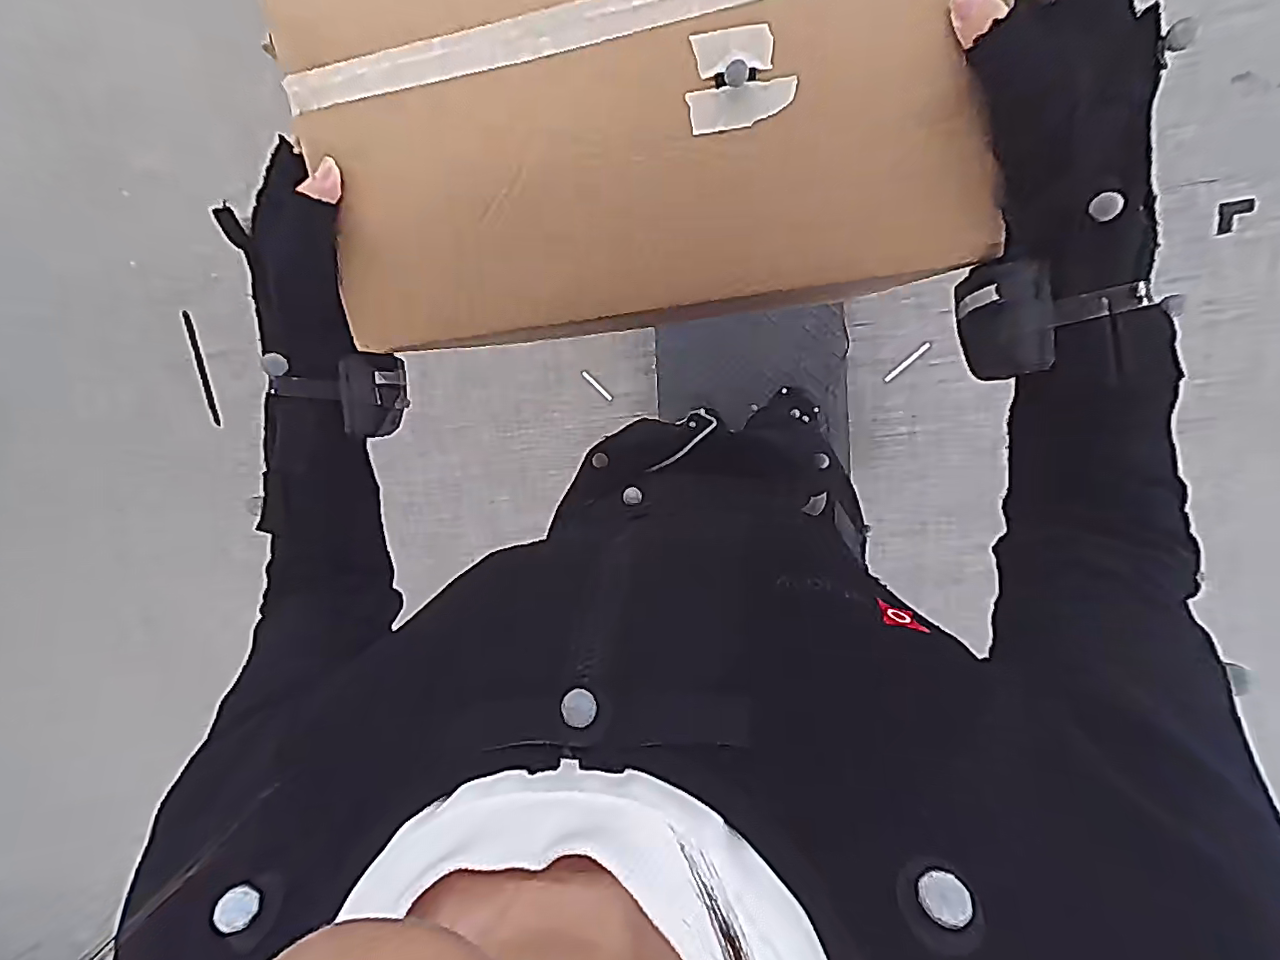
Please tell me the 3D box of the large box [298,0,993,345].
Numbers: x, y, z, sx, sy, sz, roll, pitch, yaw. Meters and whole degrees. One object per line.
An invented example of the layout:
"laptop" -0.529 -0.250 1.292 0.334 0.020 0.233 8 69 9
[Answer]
"large box" 0.008 -0.301 0.456 0.408 0.320 0.320 -6 105 10
